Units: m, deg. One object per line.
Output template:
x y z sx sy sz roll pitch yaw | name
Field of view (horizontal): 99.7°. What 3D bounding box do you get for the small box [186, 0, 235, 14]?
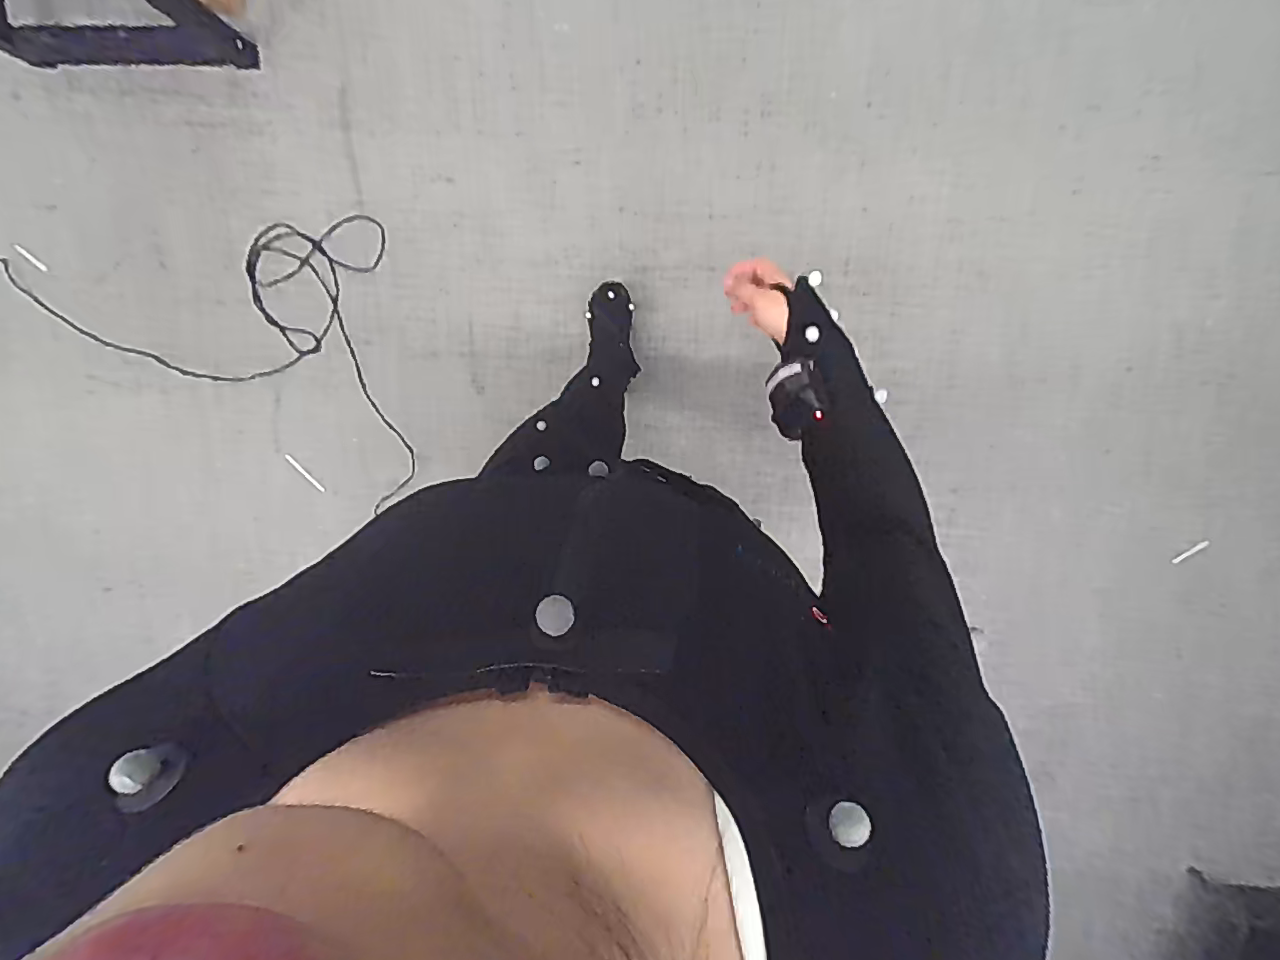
-1.024 -1.189 1.192 0.168 0.176 0.179 15 102 -1 | small box
